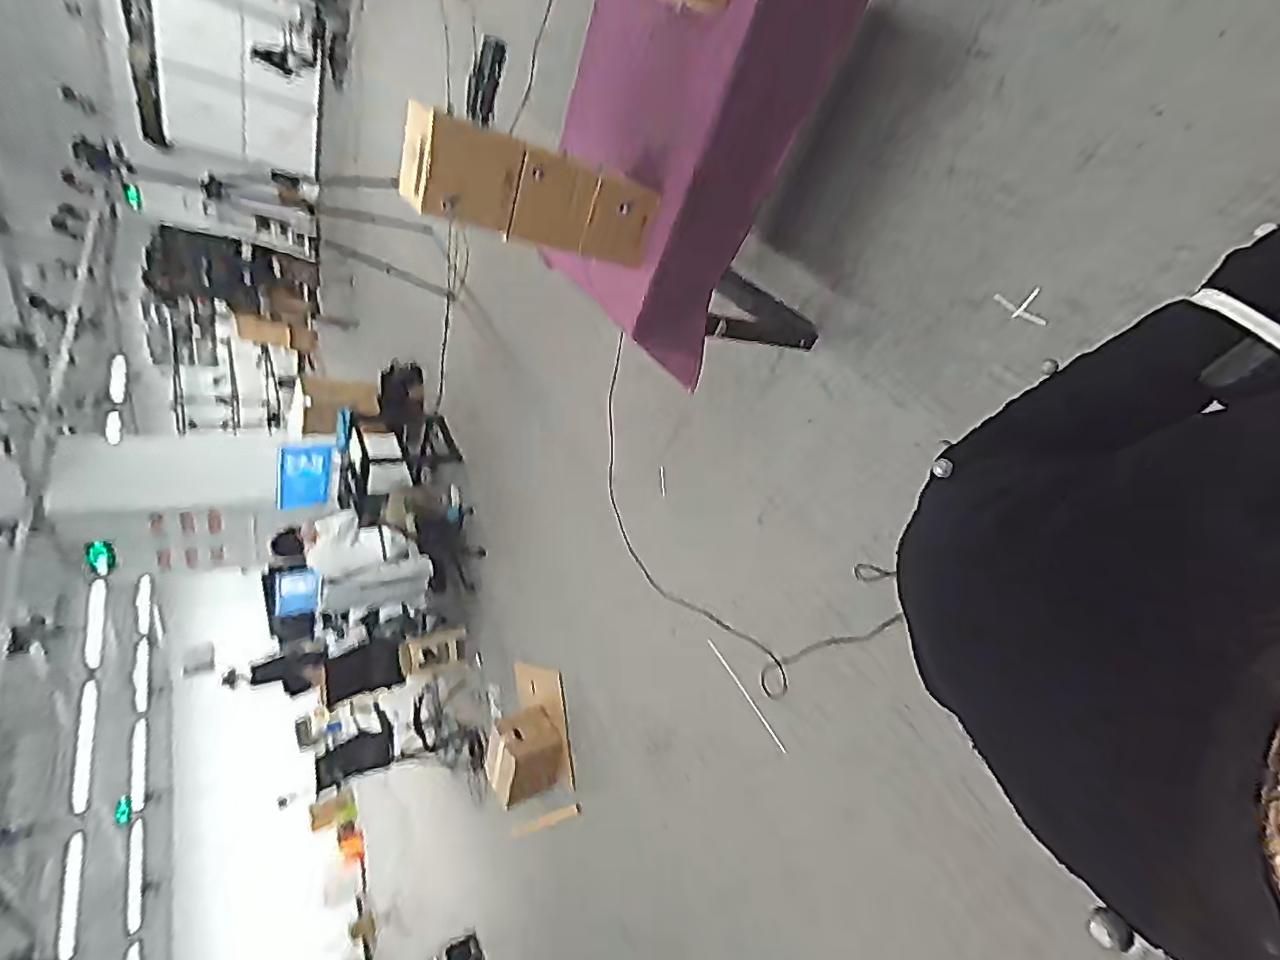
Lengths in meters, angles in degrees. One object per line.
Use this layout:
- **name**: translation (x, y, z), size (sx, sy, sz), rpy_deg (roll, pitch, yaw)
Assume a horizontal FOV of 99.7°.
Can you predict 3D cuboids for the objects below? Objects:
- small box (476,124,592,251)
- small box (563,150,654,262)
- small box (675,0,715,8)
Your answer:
- **small box**: translation (-0.223, -0.605, 1.134), size (0.168, 0.176, 0.179), rpy_deg (48, 126, 37)
- **small box**: translation (-0.095, -0.616, 1.233), size (0.179, 0.176, 0.168), rpy_deg (51, 128, 37)
- **small box**: translation (0.074, -1.005, 0.987), size (0.179, 0.176, 0.168), rpy_deg (51, 130, 35)
